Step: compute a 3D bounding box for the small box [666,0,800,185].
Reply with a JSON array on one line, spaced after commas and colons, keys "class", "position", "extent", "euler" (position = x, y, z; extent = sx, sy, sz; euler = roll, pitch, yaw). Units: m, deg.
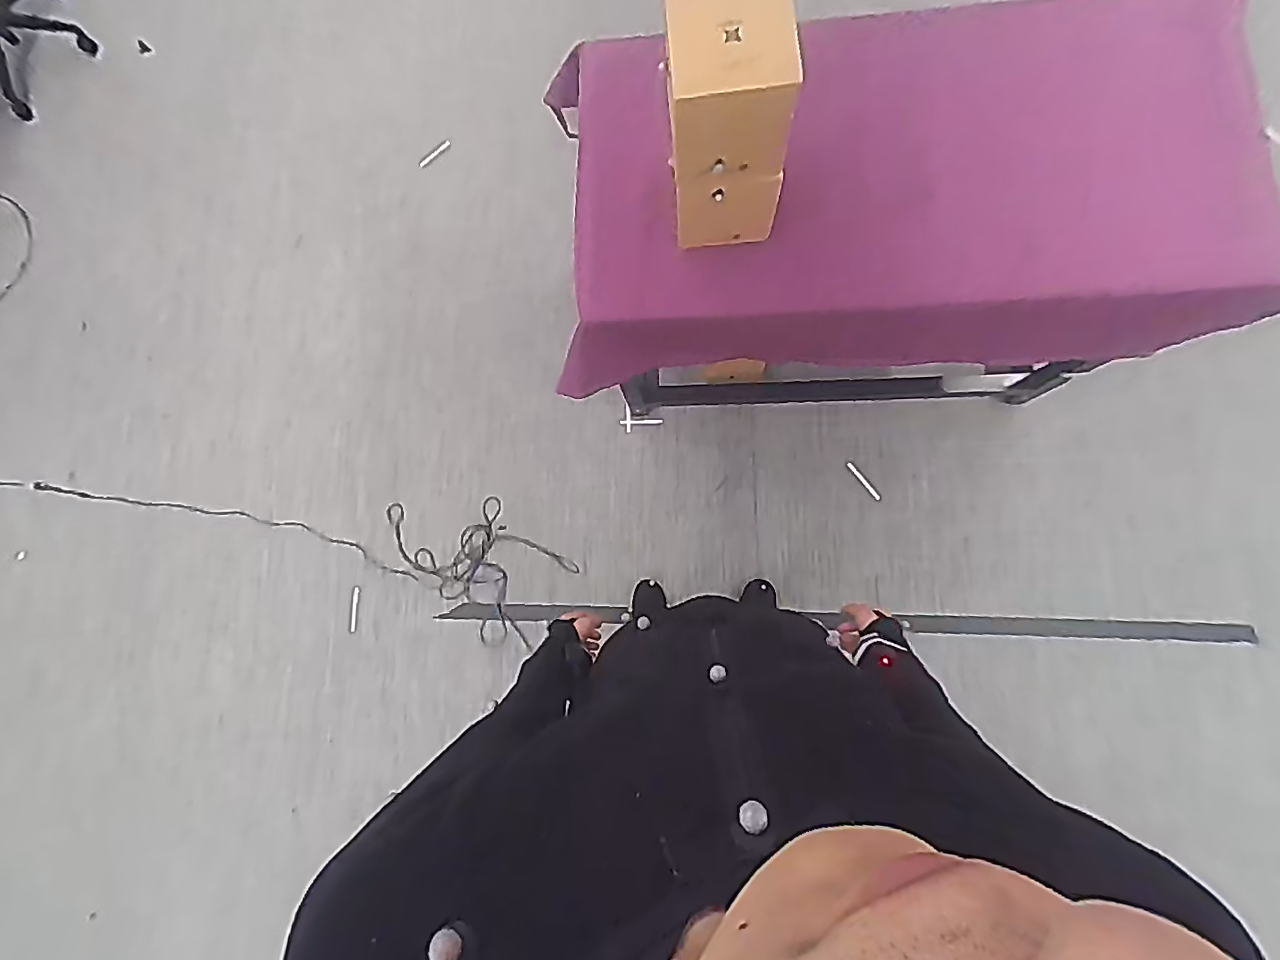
[{"class": "small box", "position": [0.123, -0.564, 0.777], "extent": [0.168, 0.176, 0.179], "euler": [-4, 81, 5]}]

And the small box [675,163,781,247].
[{"class": "small box", "position": [0.144, -0.536, 0.938], "extent": [0.168, 0.176, 0.179], "euler": [-3, 81, 5]}]
